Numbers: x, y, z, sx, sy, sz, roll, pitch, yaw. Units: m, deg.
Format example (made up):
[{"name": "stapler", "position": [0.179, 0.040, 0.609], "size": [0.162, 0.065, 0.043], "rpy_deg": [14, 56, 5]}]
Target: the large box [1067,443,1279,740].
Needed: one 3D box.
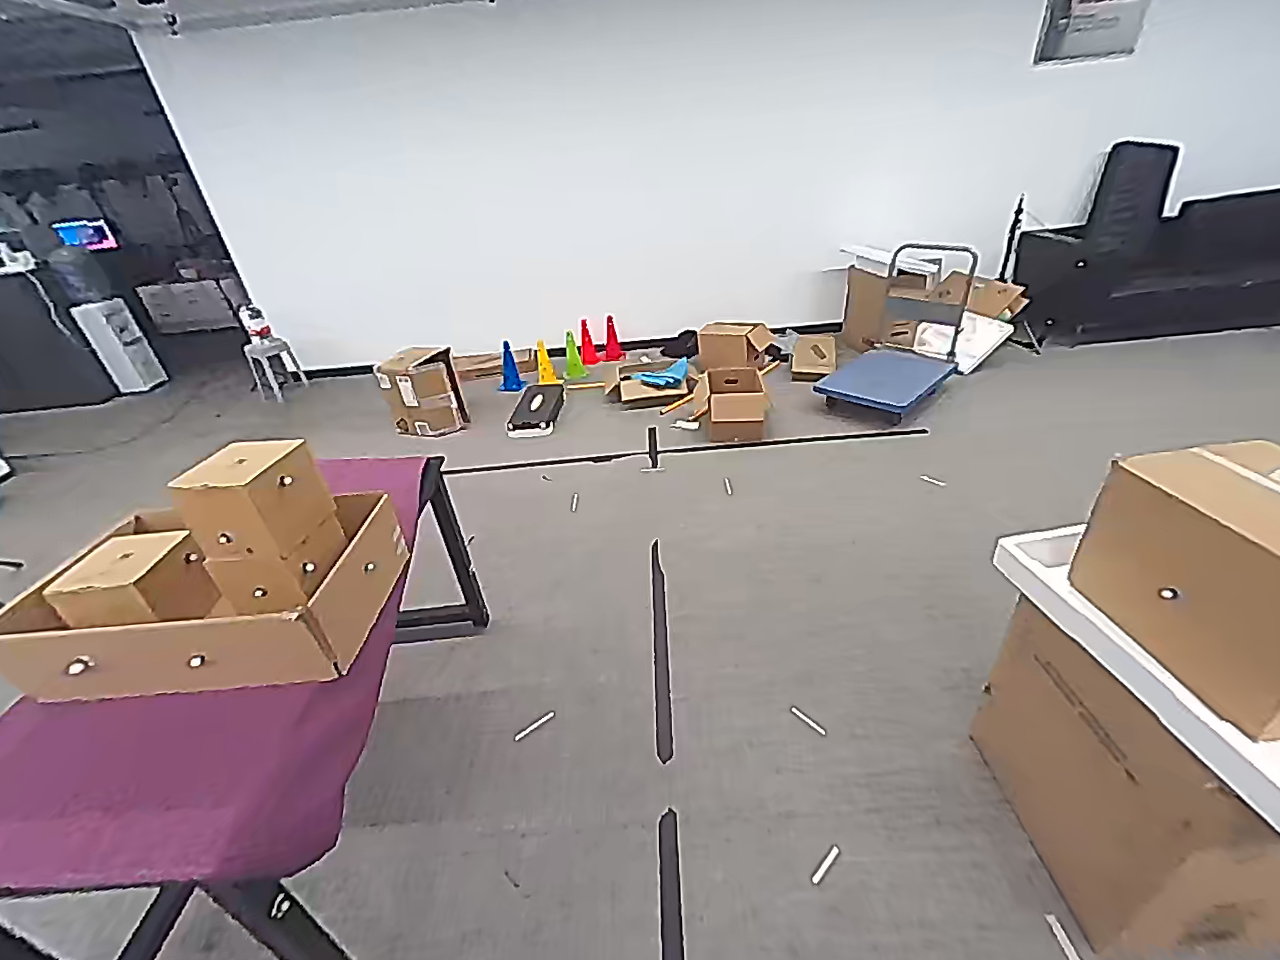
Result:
[{"name": "large box", "position": [1.095, 0.172, 0.960], "size": [0.320, 0.320, 0.408], "rpy_deg": [-7, 30, -2]}]

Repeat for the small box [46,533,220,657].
[{"name": "small box", "position": [-1.004, 0.230, 1.097], "size": [0.168, 0.176, 0.179], "rpy_deg": [-6, 31, -2]}]
